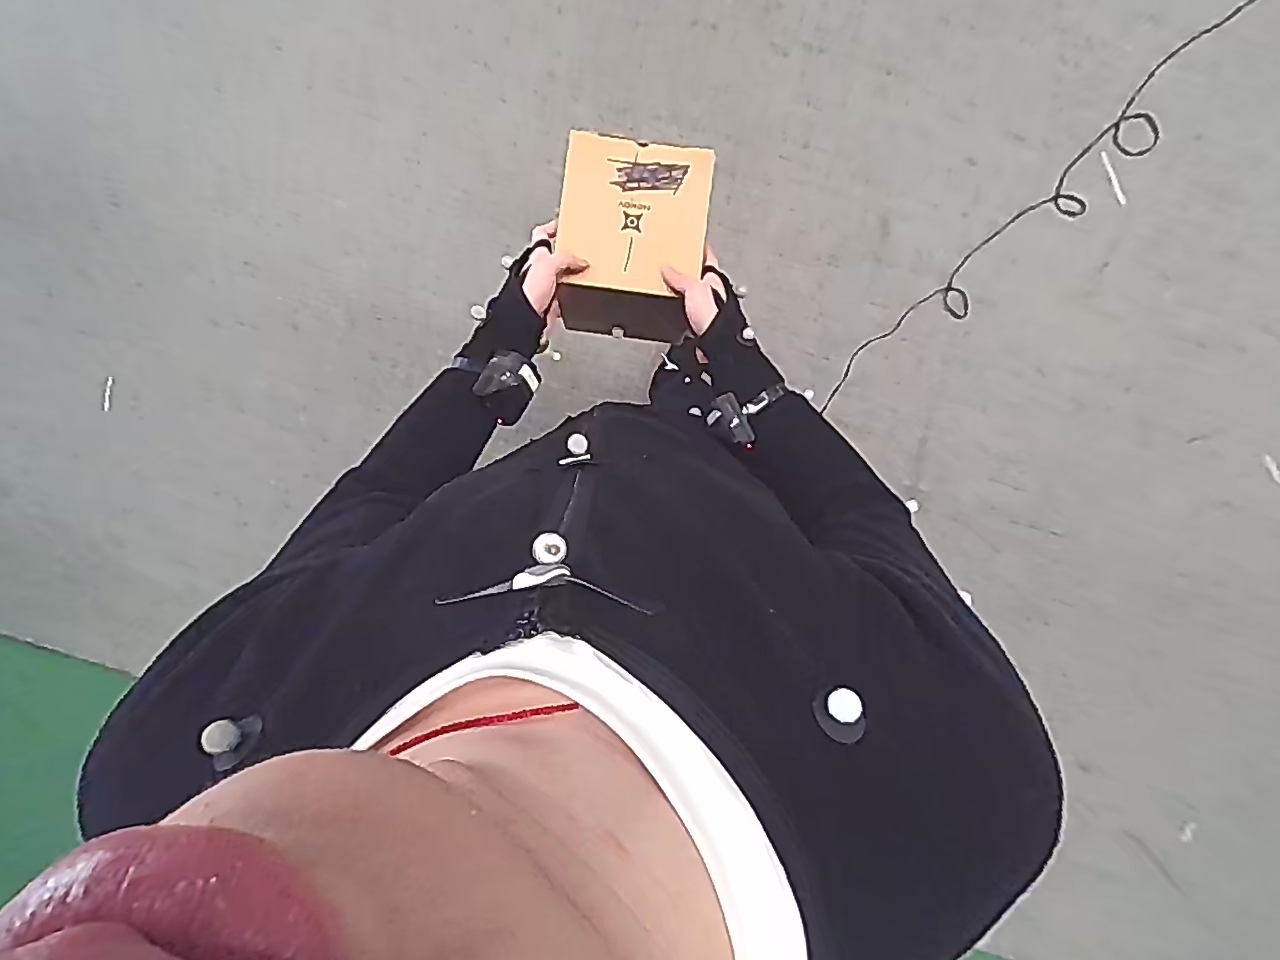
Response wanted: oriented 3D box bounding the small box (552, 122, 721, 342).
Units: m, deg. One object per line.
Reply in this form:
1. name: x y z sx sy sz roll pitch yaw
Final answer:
1. small box: -0.007 -0.293 0.674 0.168 0.176 0.179 9 86 -1
